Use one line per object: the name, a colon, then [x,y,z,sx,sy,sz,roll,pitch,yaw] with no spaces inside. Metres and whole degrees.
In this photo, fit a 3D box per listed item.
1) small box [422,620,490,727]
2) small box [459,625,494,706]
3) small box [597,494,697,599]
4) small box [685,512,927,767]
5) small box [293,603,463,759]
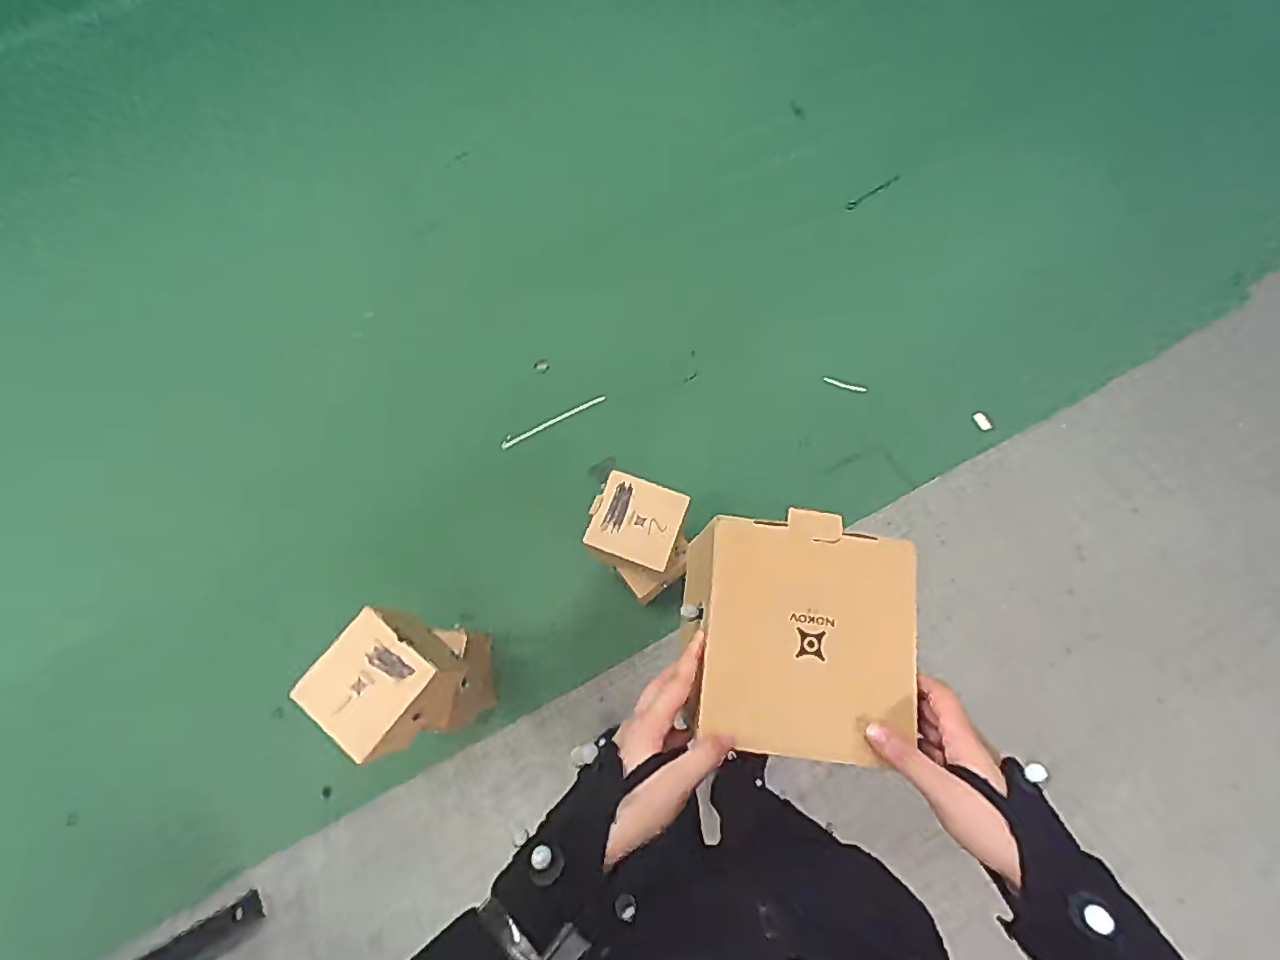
small box: [-0.416,0.378,1.083,0.168,0.176,0.179,8,72,3]
small box: [-0.442,0.437,1.235,0.168,0.176,0.179,-12,72,-3]
small box: [0.017,0.168,1.305,0.168,0.176,0.179,-36,74,-9]
small box: [0.136,0.138,0.494,0.168,0.176,0.179,7,74,-1]
small box: [-0.429,0.333,0.925,0.168,0.176,0.179,37,78,11]
